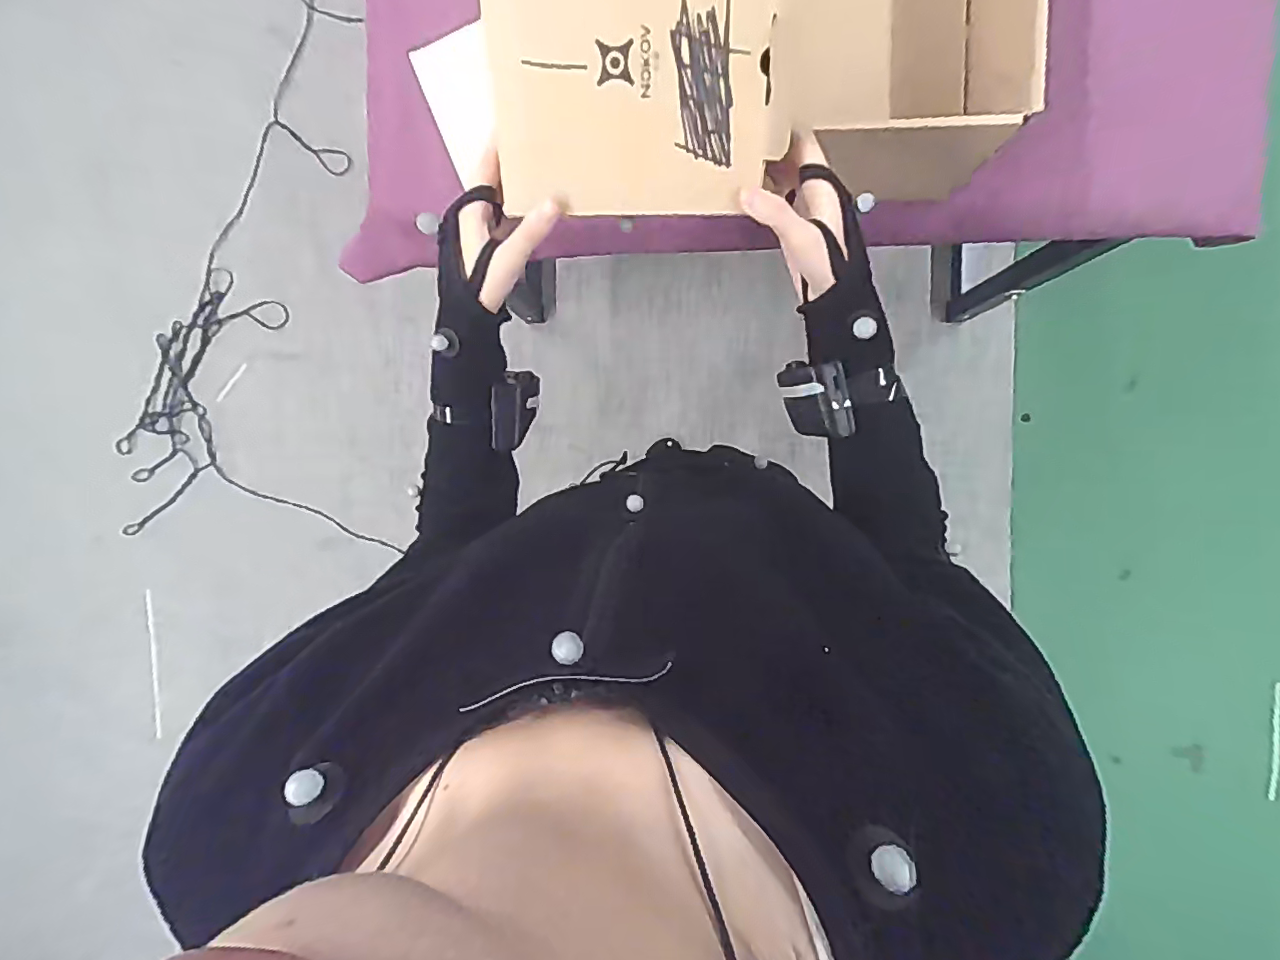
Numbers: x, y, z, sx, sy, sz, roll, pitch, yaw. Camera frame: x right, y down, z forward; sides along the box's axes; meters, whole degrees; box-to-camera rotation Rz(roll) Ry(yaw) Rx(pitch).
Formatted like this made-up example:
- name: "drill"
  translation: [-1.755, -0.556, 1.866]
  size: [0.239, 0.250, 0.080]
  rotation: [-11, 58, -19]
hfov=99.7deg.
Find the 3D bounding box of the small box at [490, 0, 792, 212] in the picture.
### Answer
- name: "small box"
  translation: [0.003, -0.291, 0.391]
  size: [0.179, 0.176, 0.168]
  rotation: [1, 119, 3]
